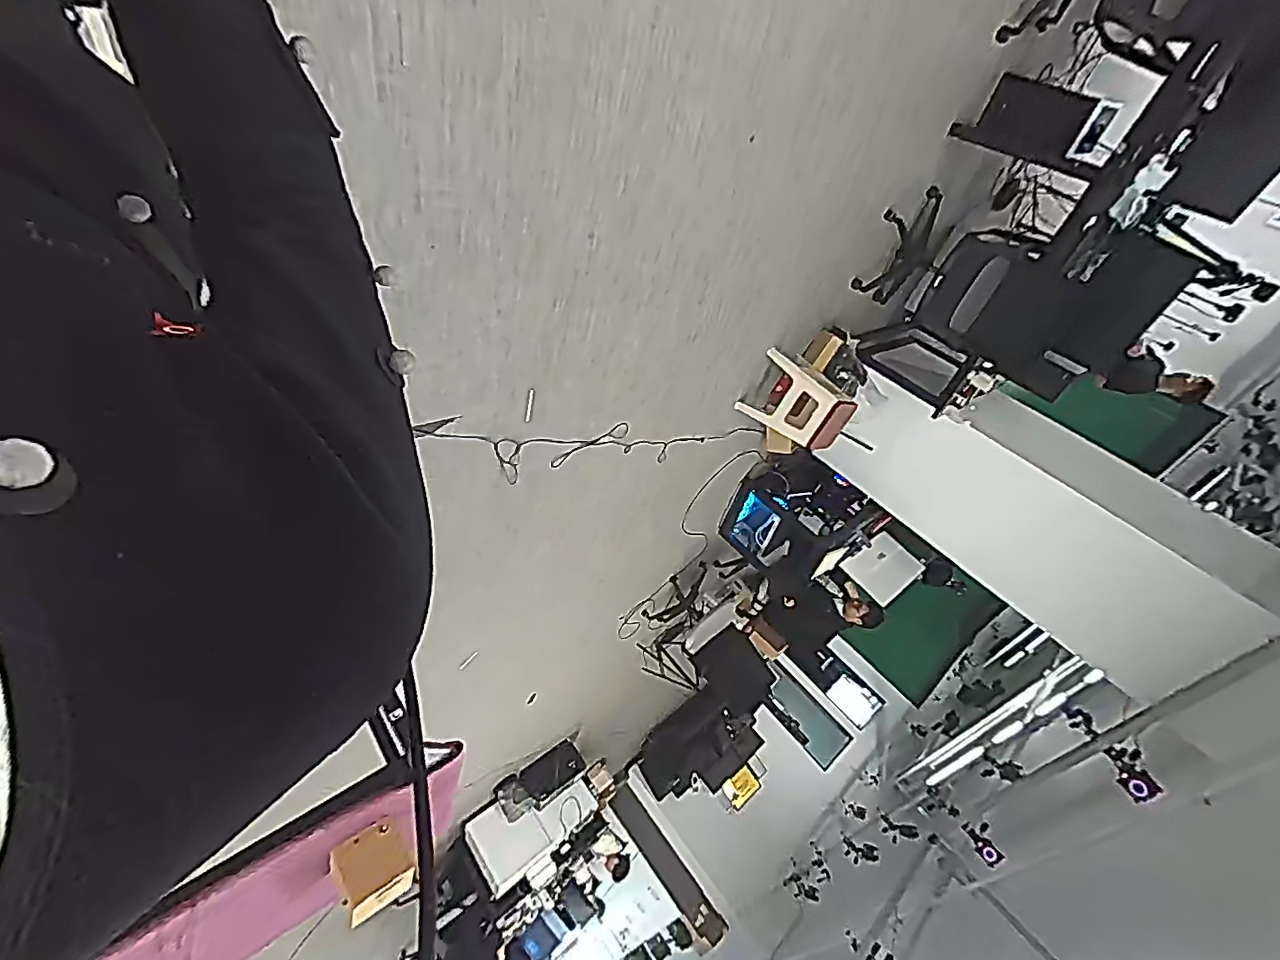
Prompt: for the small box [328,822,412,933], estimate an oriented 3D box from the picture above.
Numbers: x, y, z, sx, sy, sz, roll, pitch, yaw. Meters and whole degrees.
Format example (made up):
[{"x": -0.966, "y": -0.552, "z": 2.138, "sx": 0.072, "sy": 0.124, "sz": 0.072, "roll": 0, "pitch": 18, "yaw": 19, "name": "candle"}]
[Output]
[{"x": -0.767, "y": 1.115, "z": 1.531, "sx": 0.168, "sy": 0.176, "sz": 0.179, "roll": -15, "pitch": 139, "yaw": -43, "name": "small box"}]
